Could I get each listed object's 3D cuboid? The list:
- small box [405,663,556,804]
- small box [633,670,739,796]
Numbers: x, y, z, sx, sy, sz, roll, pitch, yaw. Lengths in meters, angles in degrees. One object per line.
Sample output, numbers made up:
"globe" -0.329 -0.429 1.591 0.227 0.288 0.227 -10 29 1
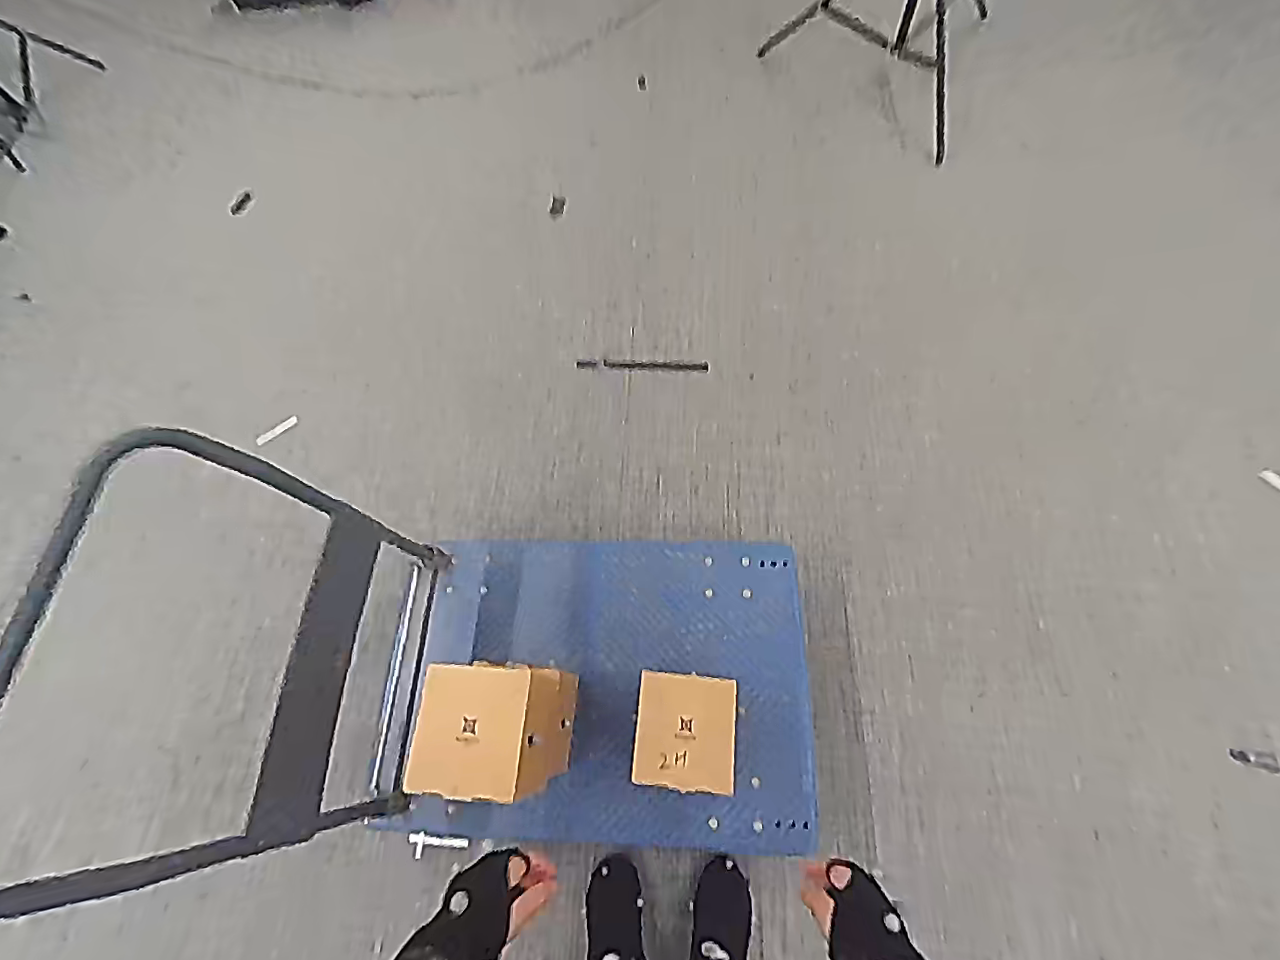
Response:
"small box" -0.235 0.392 0.853 0.168 0.176 0.179 1 67 7
"small box" 0.086 0.450 0.972 0.168 0.176 0.179 3 66 8
